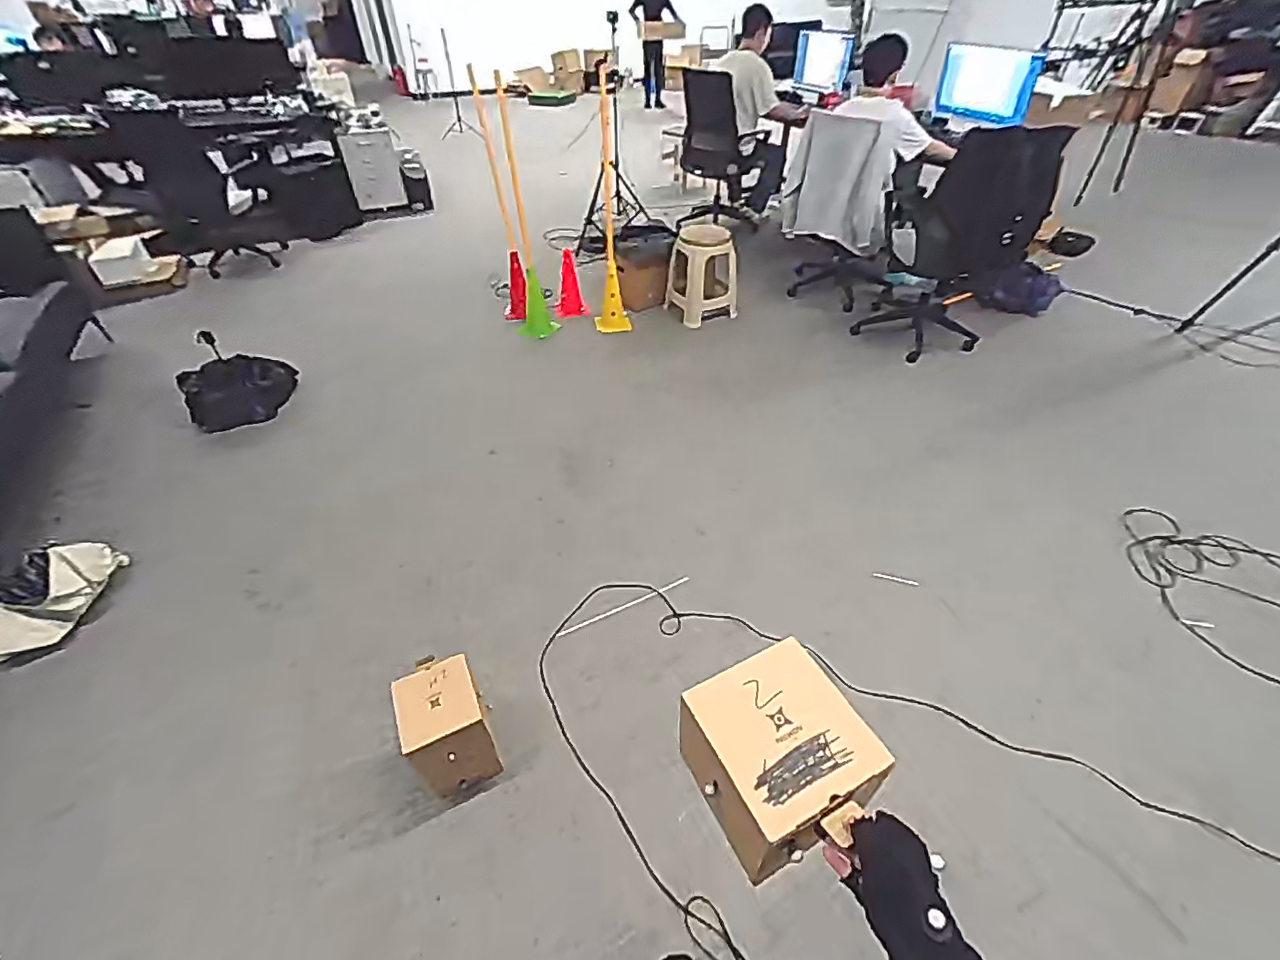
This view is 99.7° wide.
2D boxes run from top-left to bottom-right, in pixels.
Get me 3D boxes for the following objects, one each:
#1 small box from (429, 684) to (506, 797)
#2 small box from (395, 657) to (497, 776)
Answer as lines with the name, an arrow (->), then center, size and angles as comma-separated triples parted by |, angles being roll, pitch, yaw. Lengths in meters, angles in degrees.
small box -> -0.448, 0.654, 1.358 | 0.168, 0.176, 0.179 | -17, 46, -16
small box -> -0.439, 0.545, 1.233 | 0.168, 0.176, 0.179 | -19, 46, -18
